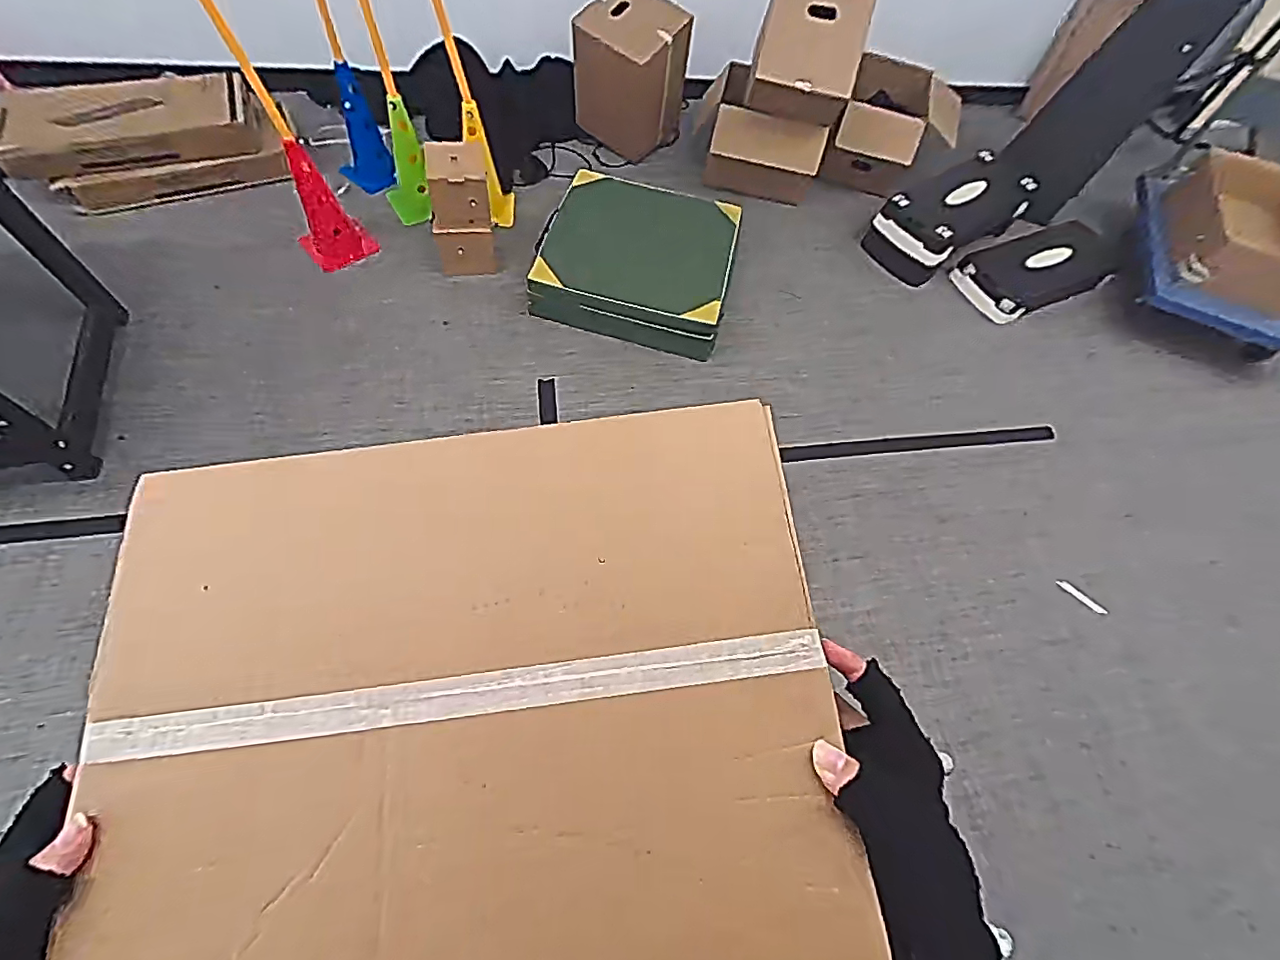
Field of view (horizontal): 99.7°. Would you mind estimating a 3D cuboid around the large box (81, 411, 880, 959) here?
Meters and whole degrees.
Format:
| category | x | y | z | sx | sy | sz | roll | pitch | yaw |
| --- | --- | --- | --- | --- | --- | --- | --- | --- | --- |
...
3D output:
| category | x | y | z | sx | sy | sz | roll | pitch | yaw |
| --- | --- | --- | --- | --- | --- | --- | --- | --- | --- |
| large box | -0.090 | 0.170 | 0.448 | 0.408 | 0.320 | 0.320 | -7 | 70 | 0 |
